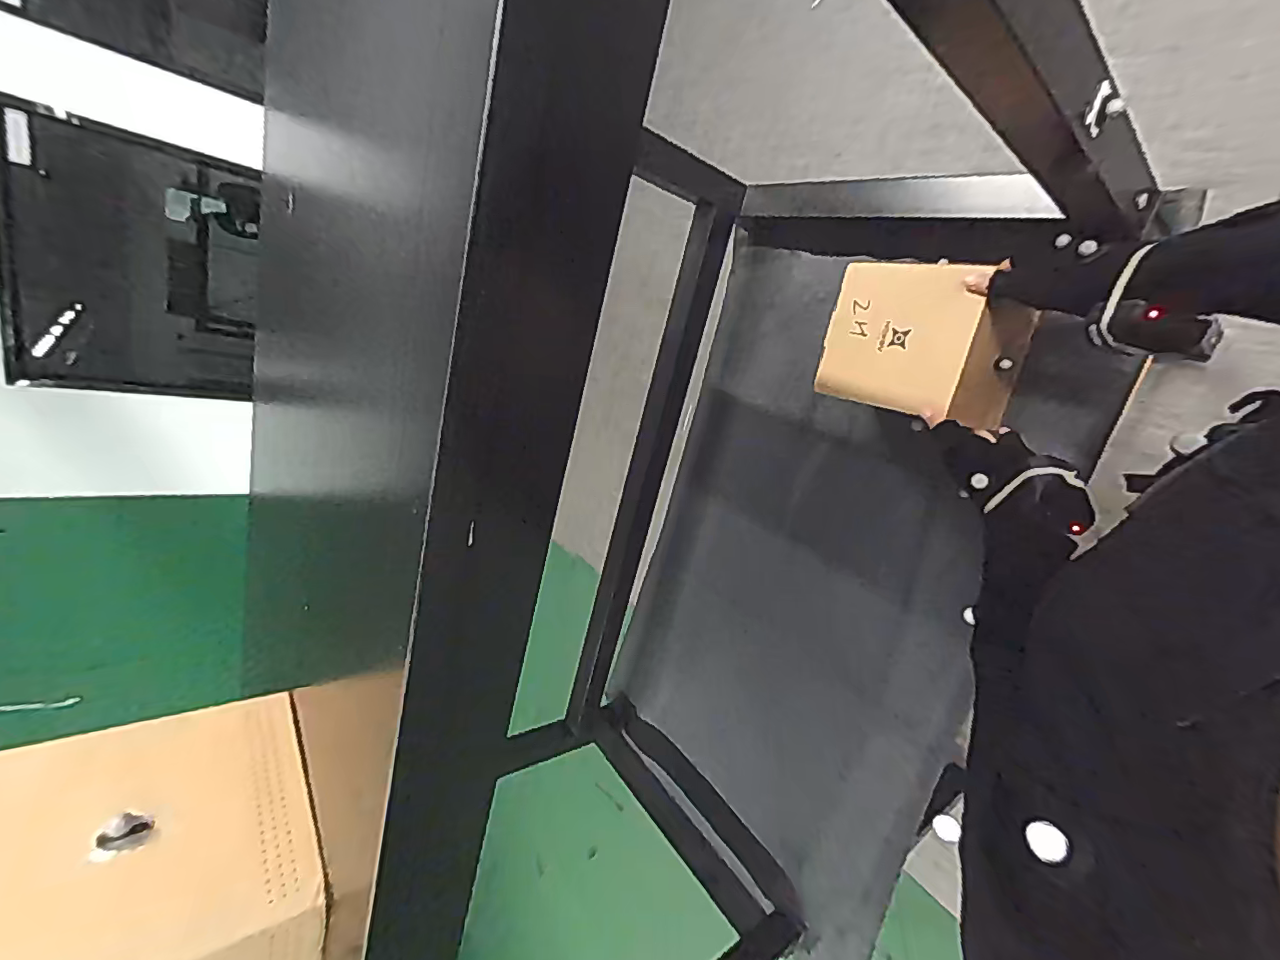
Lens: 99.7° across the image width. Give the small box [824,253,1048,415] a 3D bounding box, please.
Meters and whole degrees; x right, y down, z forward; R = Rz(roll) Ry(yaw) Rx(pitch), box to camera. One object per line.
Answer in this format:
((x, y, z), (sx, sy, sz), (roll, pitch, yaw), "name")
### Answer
((0.373, -0.180, 0.683), (0.179, 0.176, 0.168), (27, 111, 48), "small box")
